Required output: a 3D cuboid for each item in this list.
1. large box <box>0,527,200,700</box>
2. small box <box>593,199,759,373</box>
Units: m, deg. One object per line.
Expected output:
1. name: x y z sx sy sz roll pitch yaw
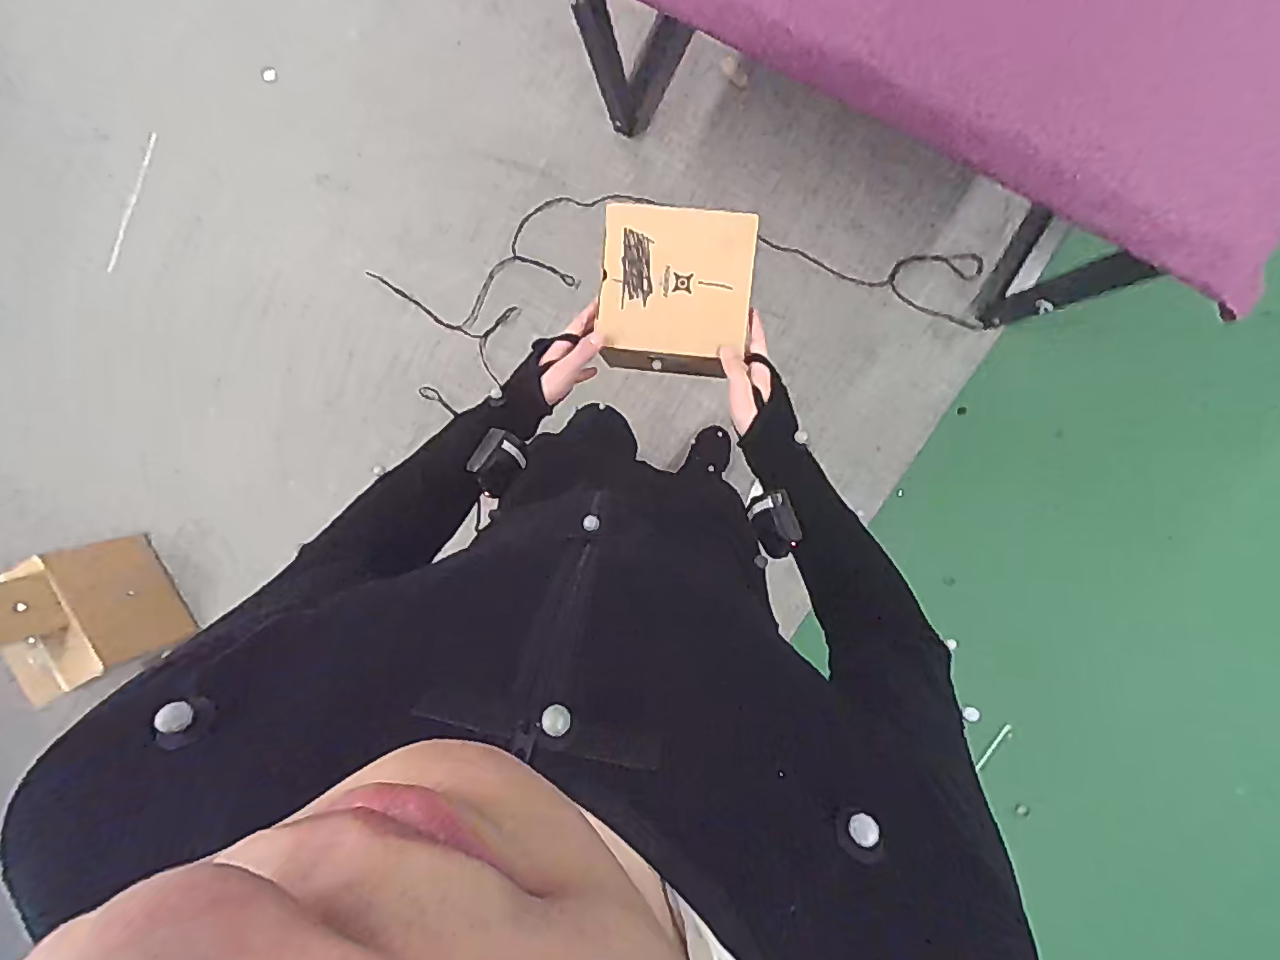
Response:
1. large box: -1.797 0.423 1.784 0.320 0.320 0.408 -27 94 11
2. small box: 0.044 -0.234 0.691 0.179 0.176 0.168 6 94 2
